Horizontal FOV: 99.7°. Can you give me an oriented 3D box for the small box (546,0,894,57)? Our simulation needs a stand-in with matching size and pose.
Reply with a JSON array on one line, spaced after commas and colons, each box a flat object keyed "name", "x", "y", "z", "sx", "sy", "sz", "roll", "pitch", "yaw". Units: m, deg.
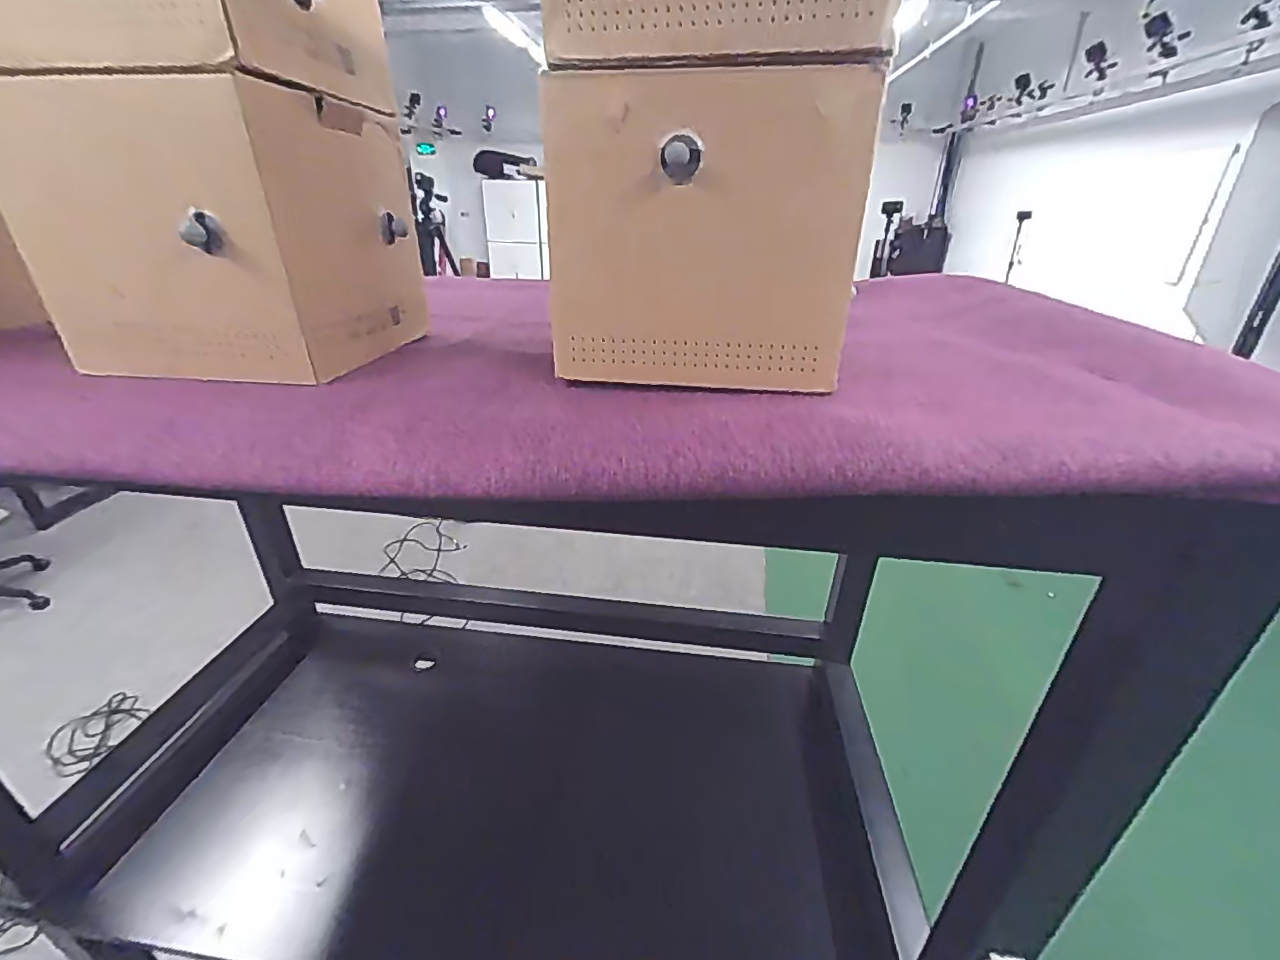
[{"name": "small box", "x": 0.047, "y": -0.314, "z": 0.302, "sx": 0.179, "sy": 0.176, "sz": 0.168, "roll": 4, "pitch": 26, "yaw": 9}]

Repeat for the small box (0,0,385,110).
[{"name": "small box", "x": -0.282, "y": -0.319, "z": 0.312, "sx": 0.179, "sy": 0.176, "sz": 0.168, "roll": 3, "pitch": 27, "yaw": 4}]

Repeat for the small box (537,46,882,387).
[{"name": "small box", "x": 0.043, "y": -0.166, "z": 0.371, "sx": 0.179, "sy": 0.176, "sz": 0.168, "roll": 5, "pitch": 26, "yaw": 8}]

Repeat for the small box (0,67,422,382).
[{"name": "small box", "x": -0.281, "y": -0.172, "z": 0.385, "sx": 0.179, "sy": 0.176, "sz": 0.168, "roll": 2, "pitch": 27, "yaw": 5}]
